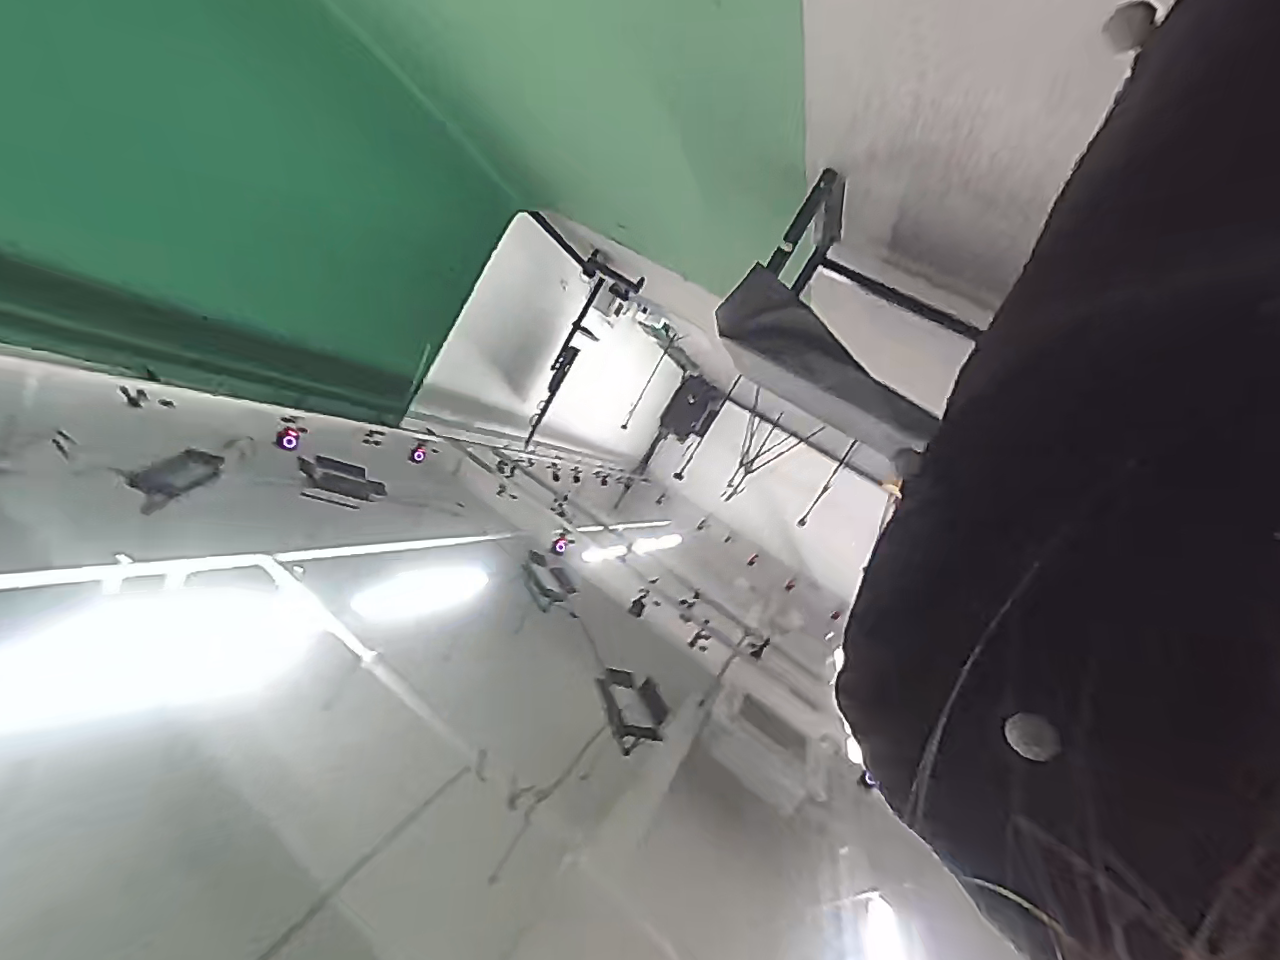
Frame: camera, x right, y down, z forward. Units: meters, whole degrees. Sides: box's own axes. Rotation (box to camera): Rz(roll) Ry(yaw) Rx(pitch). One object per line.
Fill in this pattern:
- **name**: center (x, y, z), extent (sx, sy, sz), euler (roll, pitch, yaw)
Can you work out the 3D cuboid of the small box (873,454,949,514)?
- **small box**: center (1.033, 0.009, 2.066), extent (0.179, 0.176, 0.168), euler (32, -174, 10)
